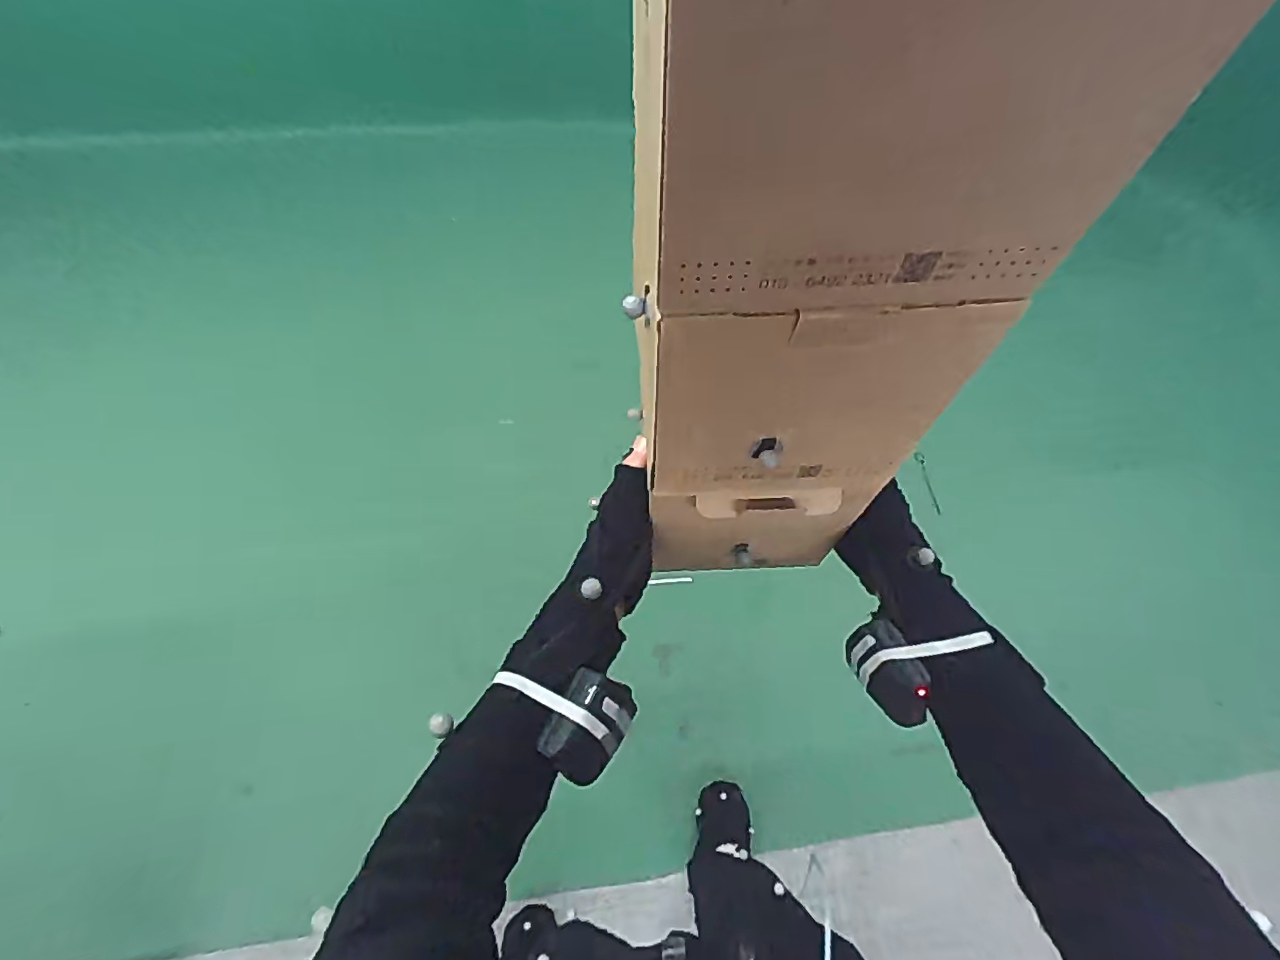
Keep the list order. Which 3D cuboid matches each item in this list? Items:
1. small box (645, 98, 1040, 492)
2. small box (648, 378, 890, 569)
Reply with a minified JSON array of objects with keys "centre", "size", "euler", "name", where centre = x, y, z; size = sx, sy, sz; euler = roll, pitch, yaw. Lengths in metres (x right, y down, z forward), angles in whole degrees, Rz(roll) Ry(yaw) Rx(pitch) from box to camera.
[{"centre":[0.092,-0.110,0.348],"size":[0.168,0.176,0.179],"euler":[-3,61,-2],"name":"small box"},{"centre":[0.093,-0.031,0.491],"size":[0.168,0.176,0.179],"euler":[-2,62,-1],"name":"small box"}]
